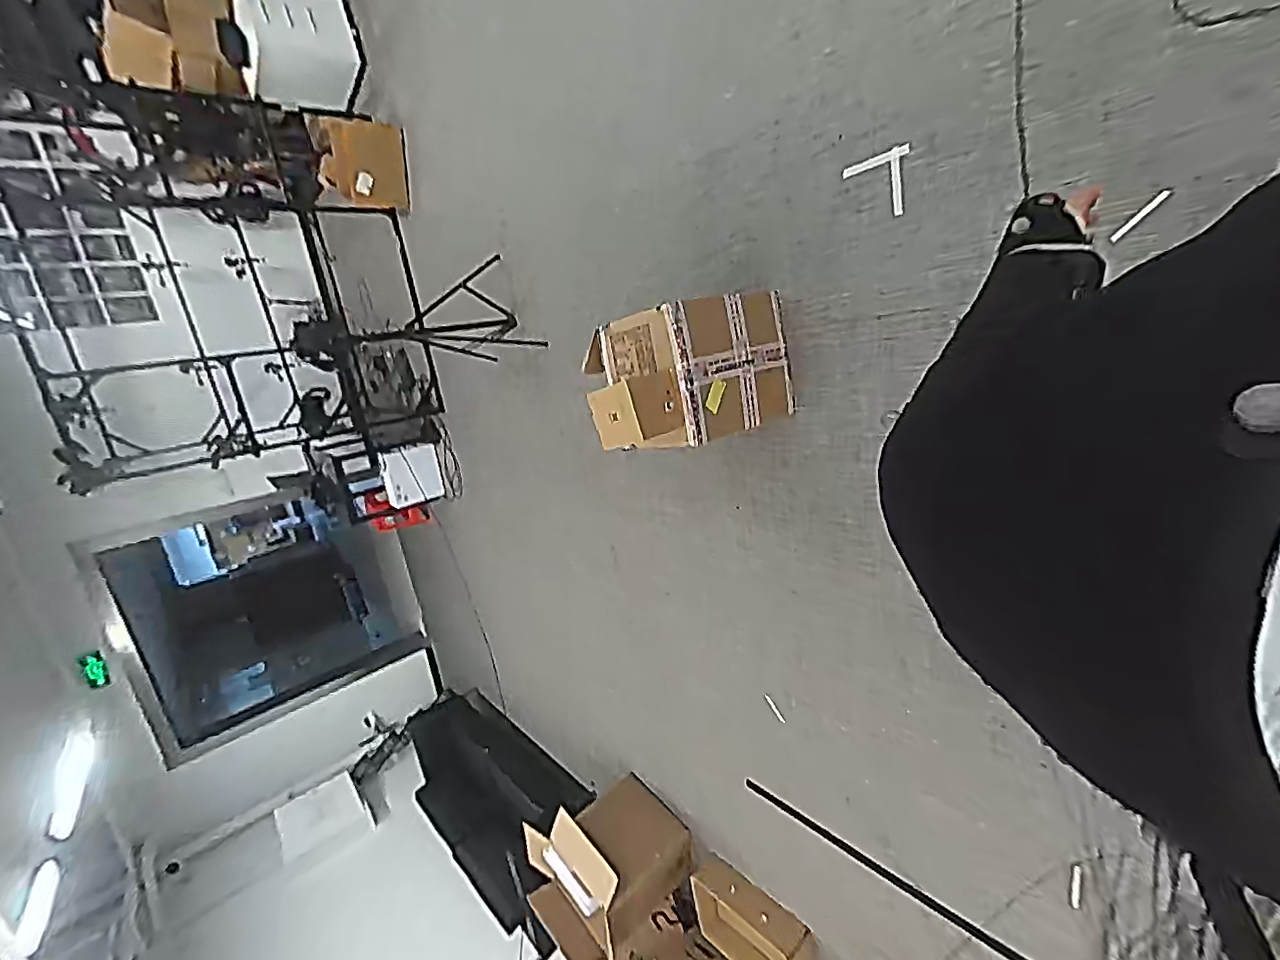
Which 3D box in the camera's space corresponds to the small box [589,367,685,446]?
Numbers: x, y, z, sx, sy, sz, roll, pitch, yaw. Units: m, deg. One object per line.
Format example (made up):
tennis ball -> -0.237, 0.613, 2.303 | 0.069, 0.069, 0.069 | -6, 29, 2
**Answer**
small box -> -0.006, -0.203, 1.494 | 0.179, 0.176, 0.168 | -10, 100, 48
